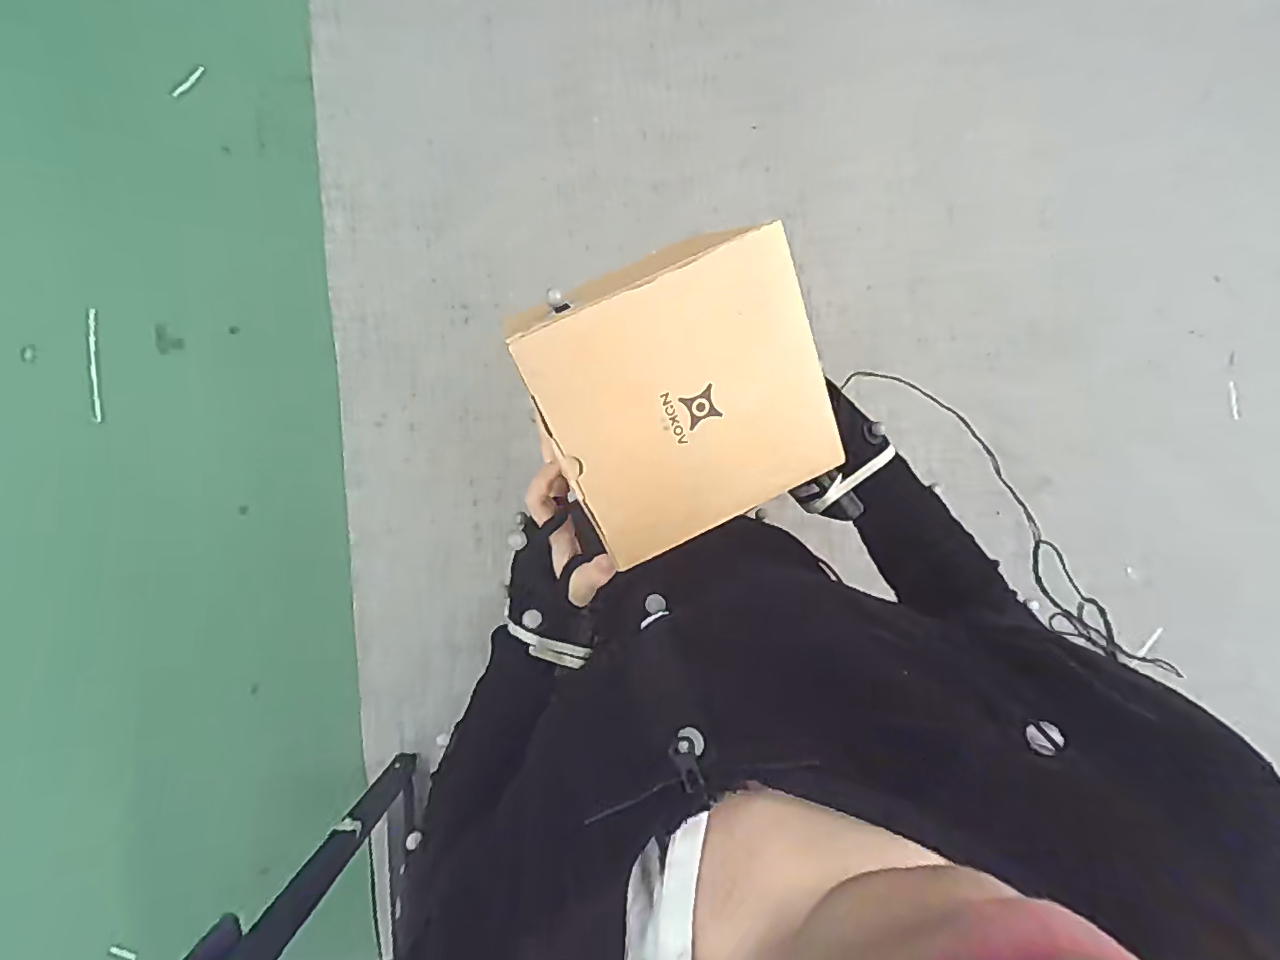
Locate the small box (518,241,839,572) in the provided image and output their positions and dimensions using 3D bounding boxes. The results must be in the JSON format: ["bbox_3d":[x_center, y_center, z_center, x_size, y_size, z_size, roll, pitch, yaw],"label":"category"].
[{"bbox_3d":[0.017,-0.067,0.417,0.179,0.176,0.168,-25,113,-3],"label":"small box"}]
